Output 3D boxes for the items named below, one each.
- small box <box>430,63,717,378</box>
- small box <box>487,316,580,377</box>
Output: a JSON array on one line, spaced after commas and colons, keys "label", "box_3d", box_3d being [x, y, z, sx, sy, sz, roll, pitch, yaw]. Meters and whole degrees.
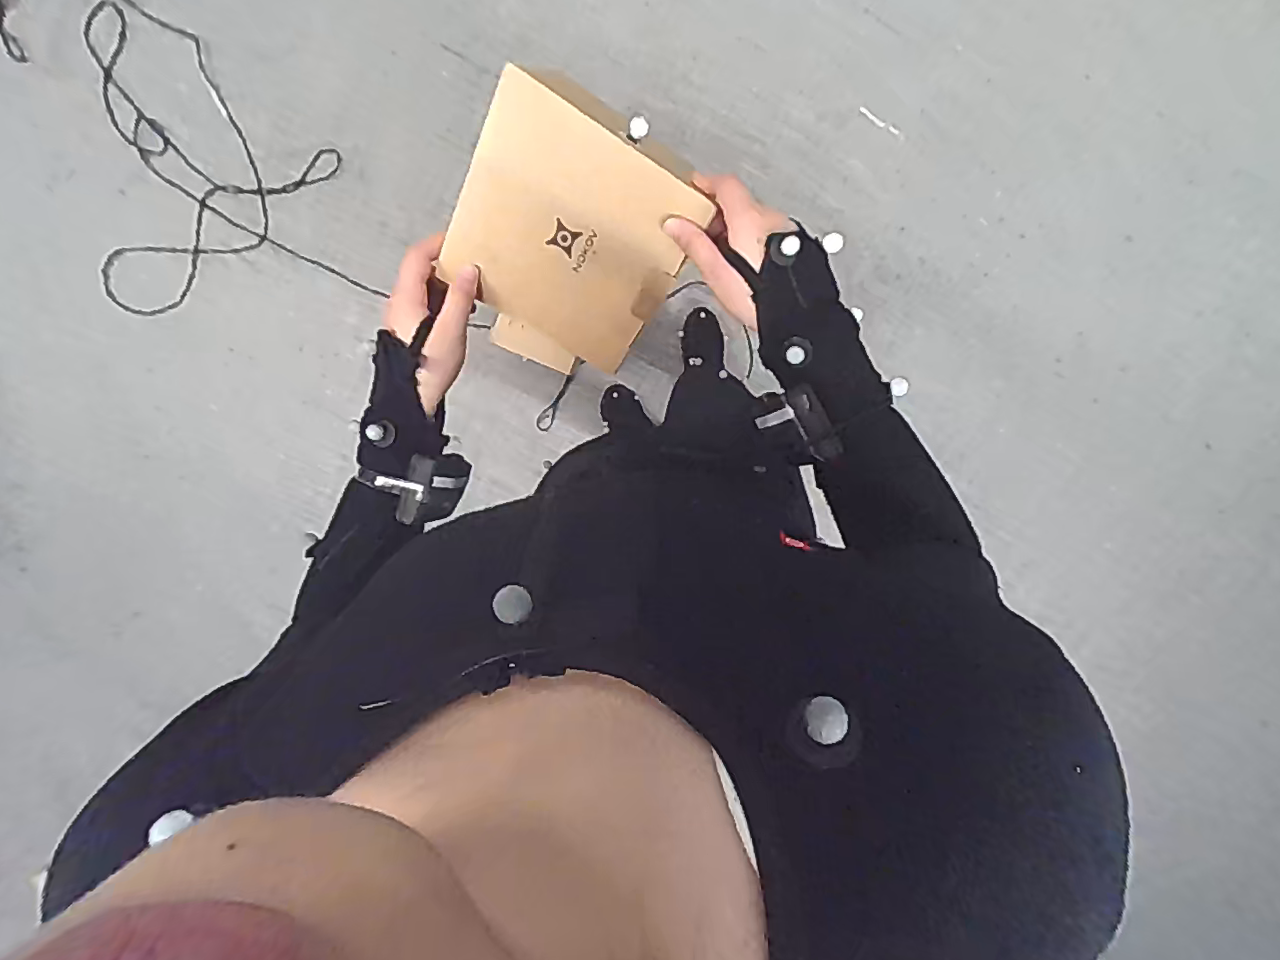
[{"label": "small box", "box_3d": [-0.053, -0.229, 0.486, 0.179, 0.176, 0.168, 27, 123, -16]}, {"label": "small box", "box_3d": [-0.196, -0.330, 1.145, 0.179, 0.176, 0.168, 22, 104, -6]}]
